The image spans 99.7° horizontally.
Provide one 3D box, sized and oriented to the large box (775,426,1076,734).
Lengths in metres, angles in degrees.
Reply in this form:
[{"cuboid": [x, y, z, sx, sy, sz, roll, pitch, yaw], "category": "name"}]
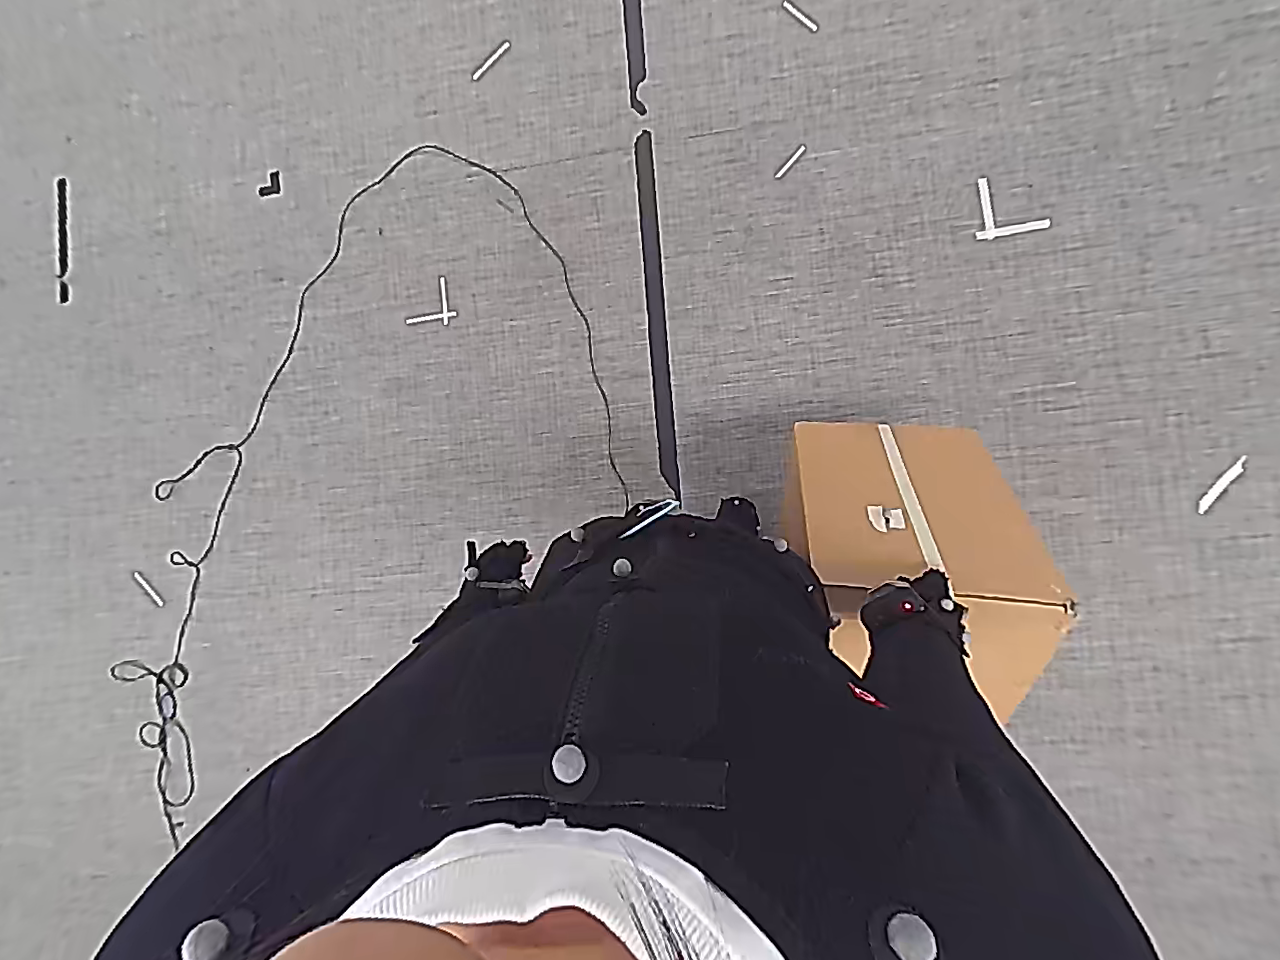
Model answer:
[{"cuboid": [0.413, 0.148, 0.921, 0.320, 0.408, 0.320, 3, 128, 9], "category": "large box"}]
